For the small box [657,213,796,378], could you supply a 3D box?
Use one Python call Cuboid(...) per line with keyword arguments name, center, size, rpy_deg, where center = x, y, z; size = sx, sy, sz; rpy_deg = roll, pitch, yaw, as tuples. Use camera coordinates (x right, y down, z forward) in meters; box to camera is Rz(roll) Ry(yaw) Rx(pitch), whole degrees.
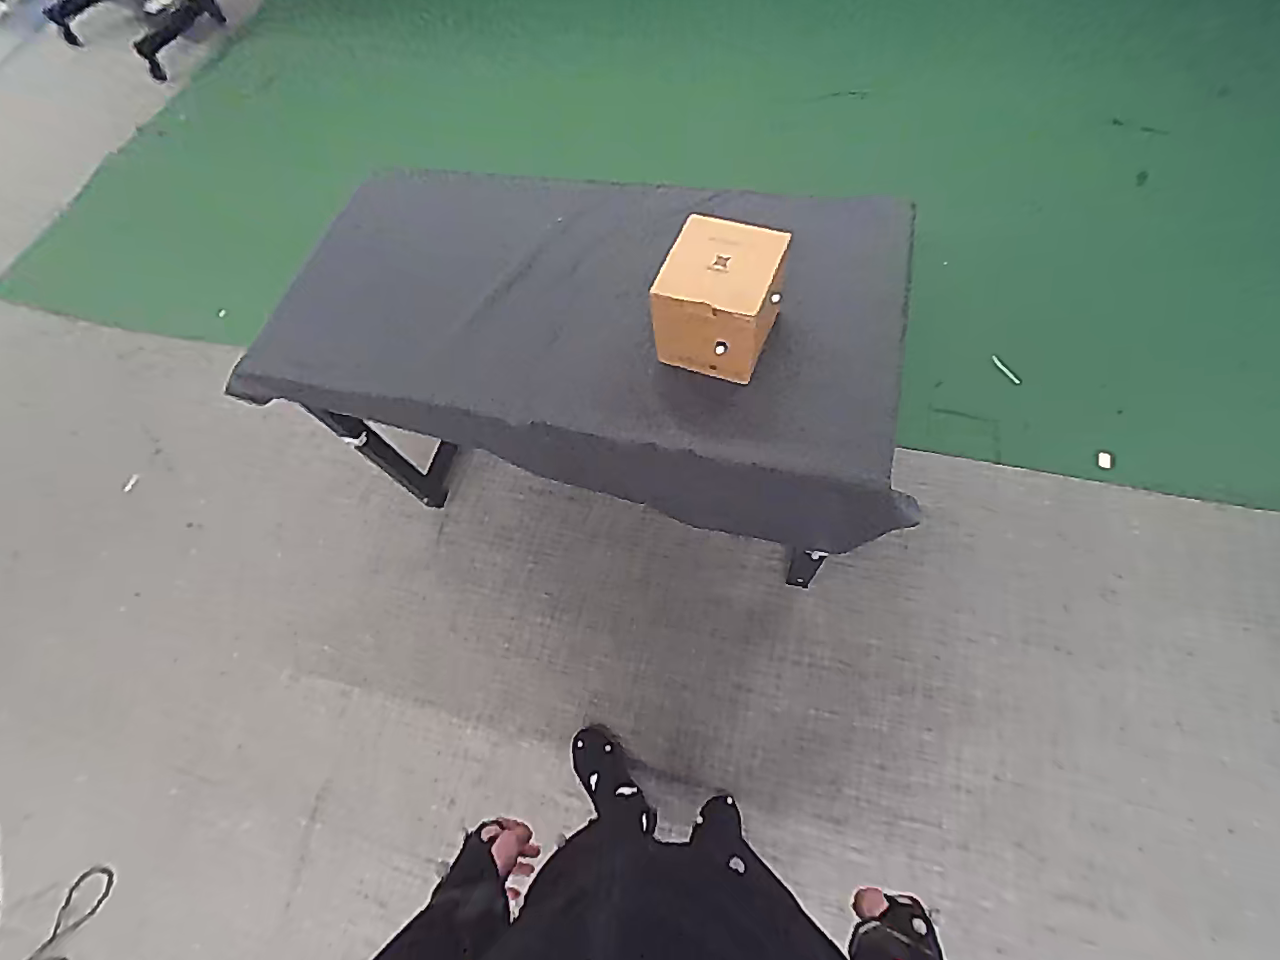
Cuboid(name="small box", center=(0.141, -0.296, 0.890), size=(0.168, 0.176, 0.179), rpy_deg=(20, 68, 14))
